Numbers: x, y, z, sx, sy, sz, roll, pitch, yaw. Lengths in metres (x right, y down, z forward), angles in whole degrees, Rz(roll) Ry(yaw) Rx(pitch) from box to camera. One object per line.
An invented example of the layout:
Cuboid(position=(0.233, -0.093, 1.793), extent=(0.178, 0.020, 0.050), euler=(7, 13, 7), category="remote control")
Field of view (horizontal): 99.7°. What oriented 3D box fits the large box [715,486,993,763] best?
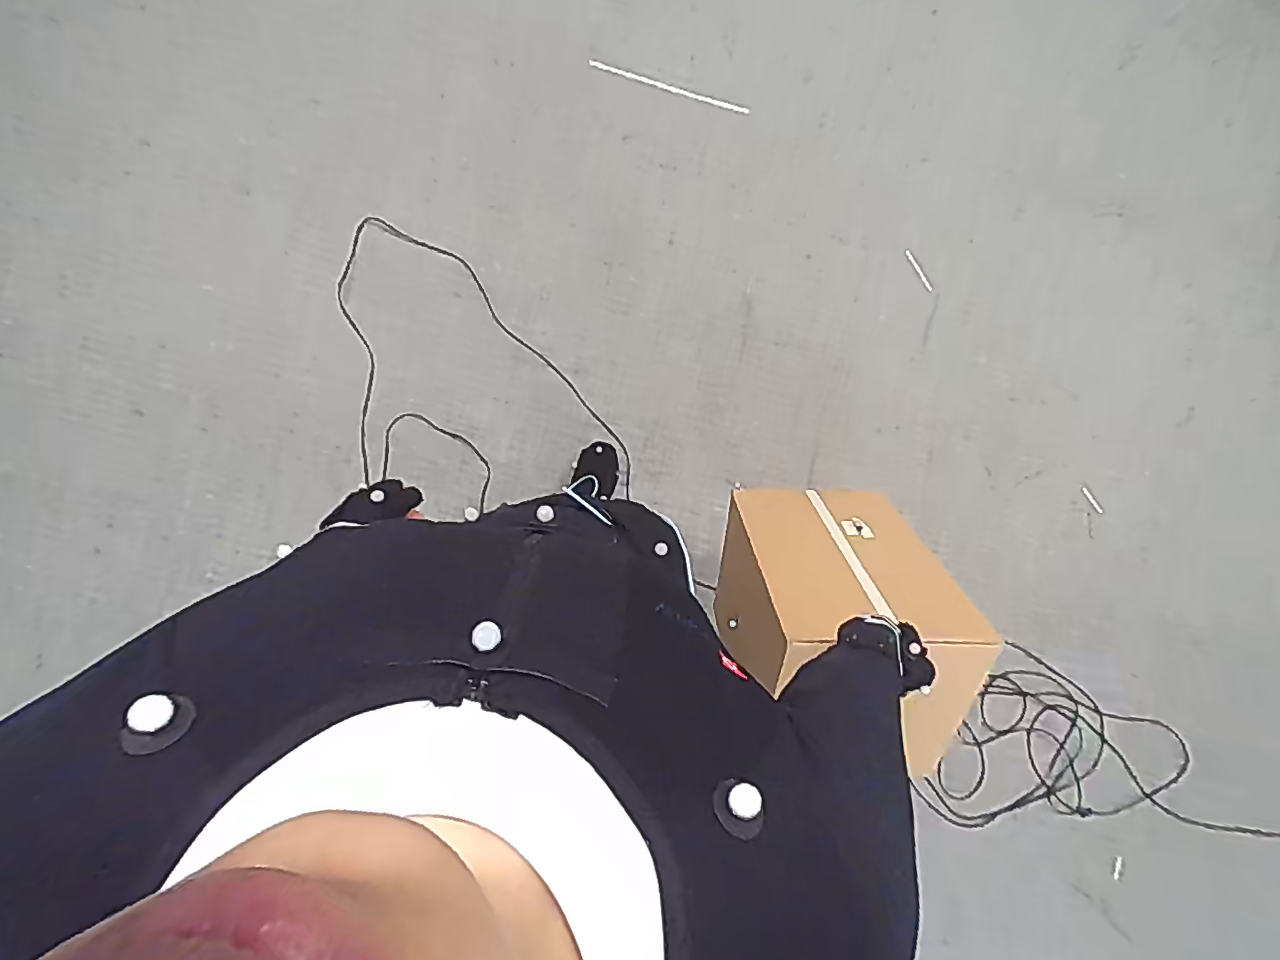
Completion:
Cuboid(position=(0.338, 0.247, 1.002), extent=(0.320, 0.408, 0.320), euler=(2, 119, -4), category="large box")
